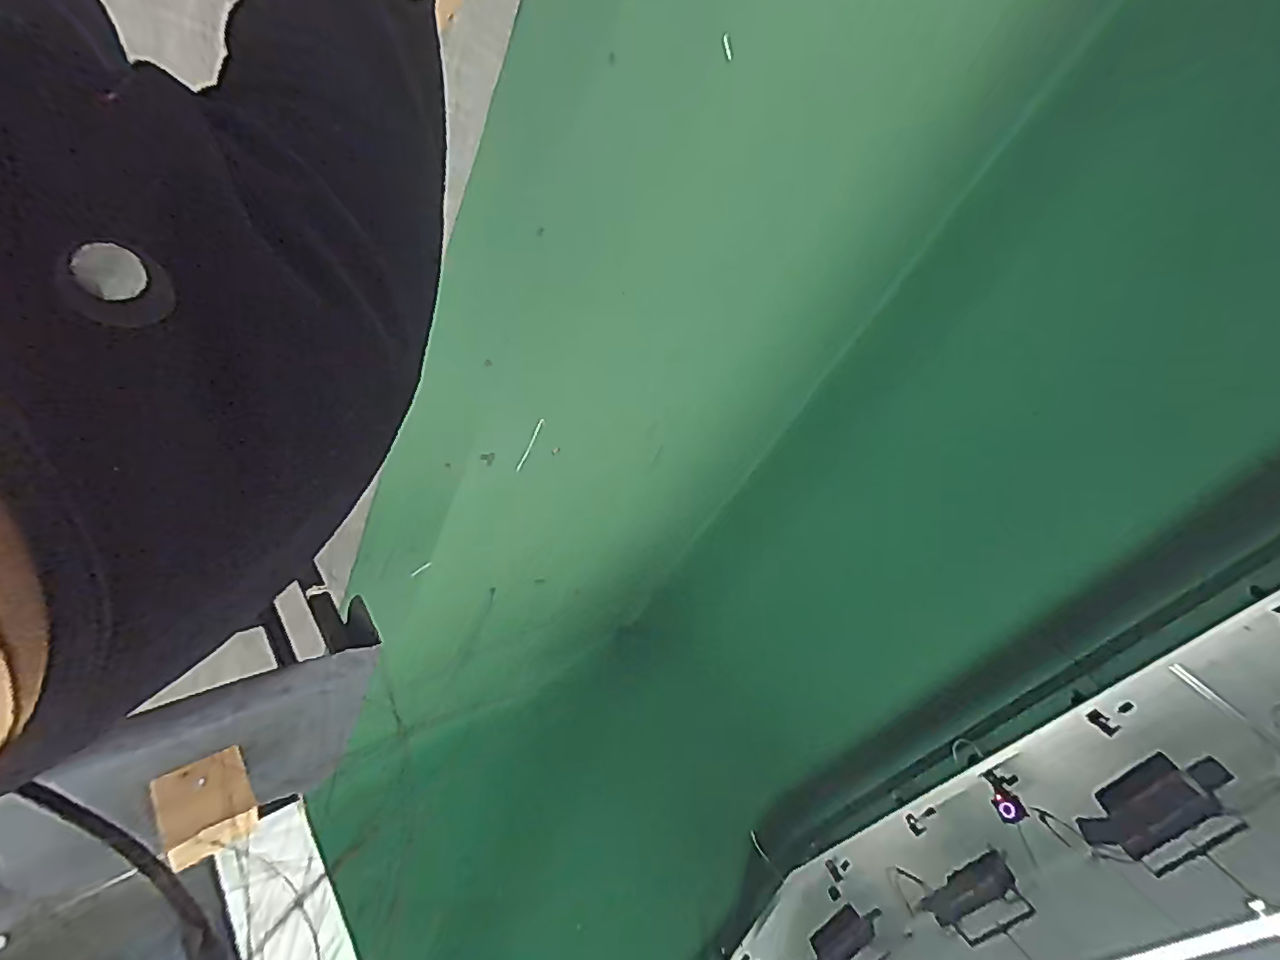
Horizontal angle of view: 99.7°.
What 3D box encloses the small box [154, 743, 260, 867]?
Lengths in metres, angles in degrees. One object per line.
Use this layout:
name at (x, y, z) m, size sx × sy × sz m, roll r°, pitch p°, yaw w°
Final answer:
small box at (-1.033, 0.769, 1.294) m, size 0.168 × 0.176 × 0.179 m, roll -15°, pitch 145°, yaw -45°
